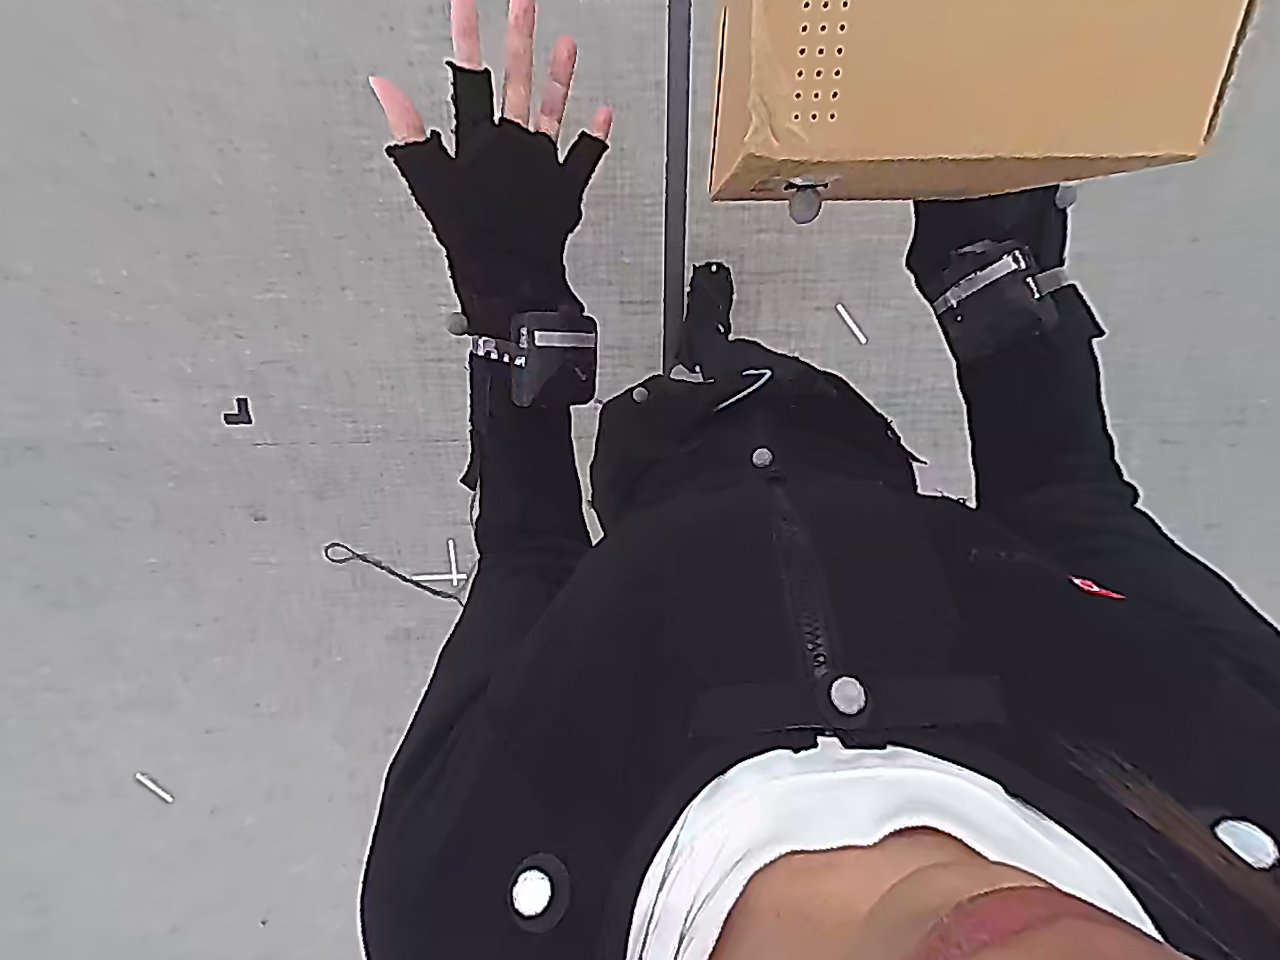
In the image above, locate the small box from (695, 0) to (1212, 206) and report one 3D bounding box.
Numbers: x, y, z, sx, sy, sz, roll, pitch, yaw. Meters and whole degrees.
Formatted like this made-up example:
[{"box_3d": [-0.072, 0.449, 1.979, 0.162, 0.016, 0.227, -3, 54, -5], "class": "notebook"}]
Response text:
[{"box_3d": [0.117, -0.234, 0.251, 0.176, 0.168, 0.179, 1, 112, 3], "class": "small box"}]
